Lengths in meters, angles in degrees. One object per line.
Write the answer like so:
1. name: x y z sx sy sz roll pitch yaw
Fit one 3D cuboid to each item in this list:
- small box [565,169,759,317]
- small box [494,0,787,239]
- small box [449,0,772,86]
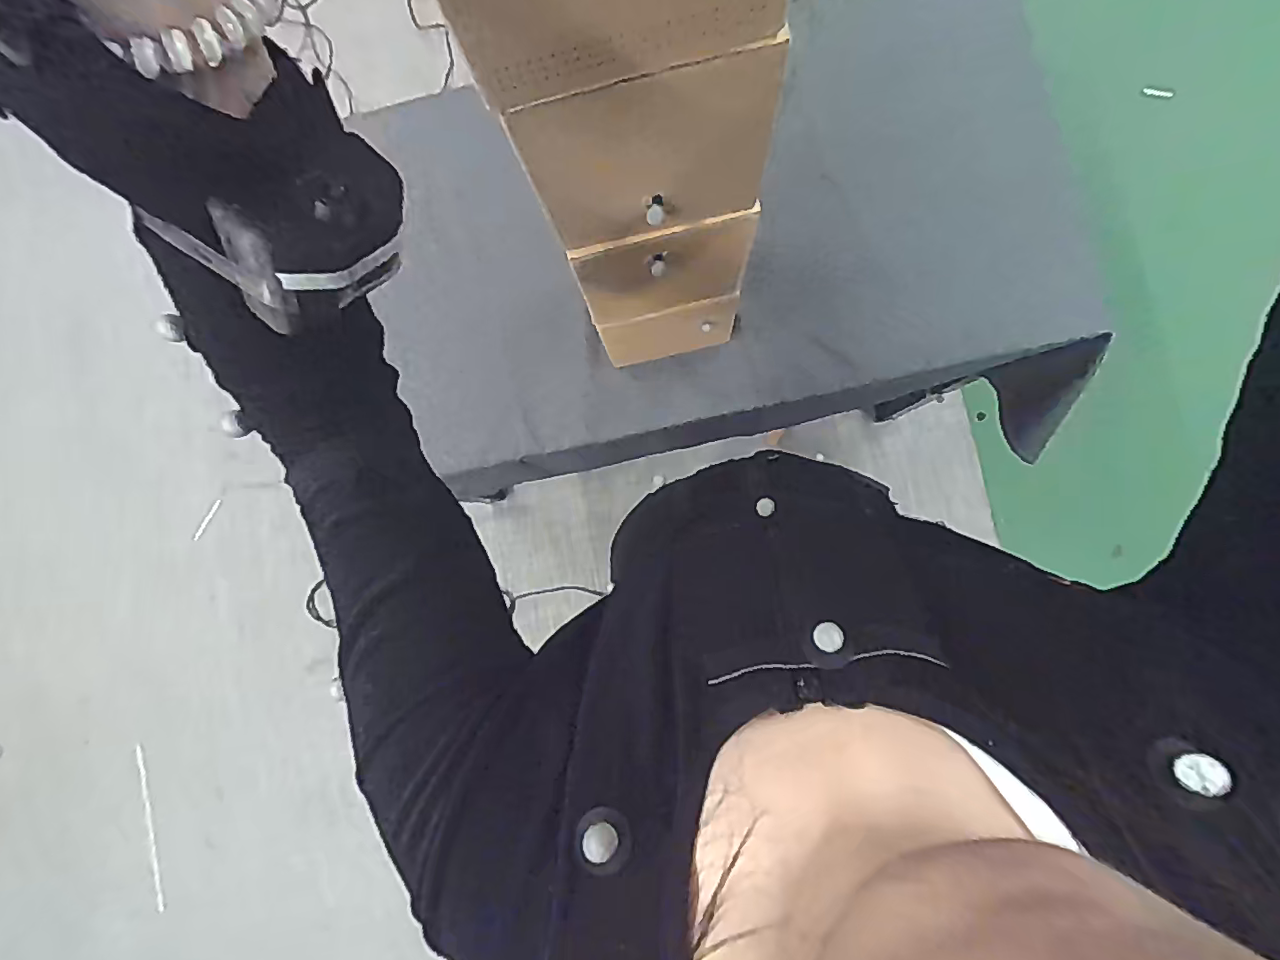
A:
1. small box: 0.010 -0.292 0.563 0.179 0.176 0.168 -13 85 4
2. small box: -0.008 -0.309 0.401 0.179 0.176 0.168 -10 85 4
3. small box: -0.027 -0.323 0.238 0.179 0.176 0.168 -13 86 4
